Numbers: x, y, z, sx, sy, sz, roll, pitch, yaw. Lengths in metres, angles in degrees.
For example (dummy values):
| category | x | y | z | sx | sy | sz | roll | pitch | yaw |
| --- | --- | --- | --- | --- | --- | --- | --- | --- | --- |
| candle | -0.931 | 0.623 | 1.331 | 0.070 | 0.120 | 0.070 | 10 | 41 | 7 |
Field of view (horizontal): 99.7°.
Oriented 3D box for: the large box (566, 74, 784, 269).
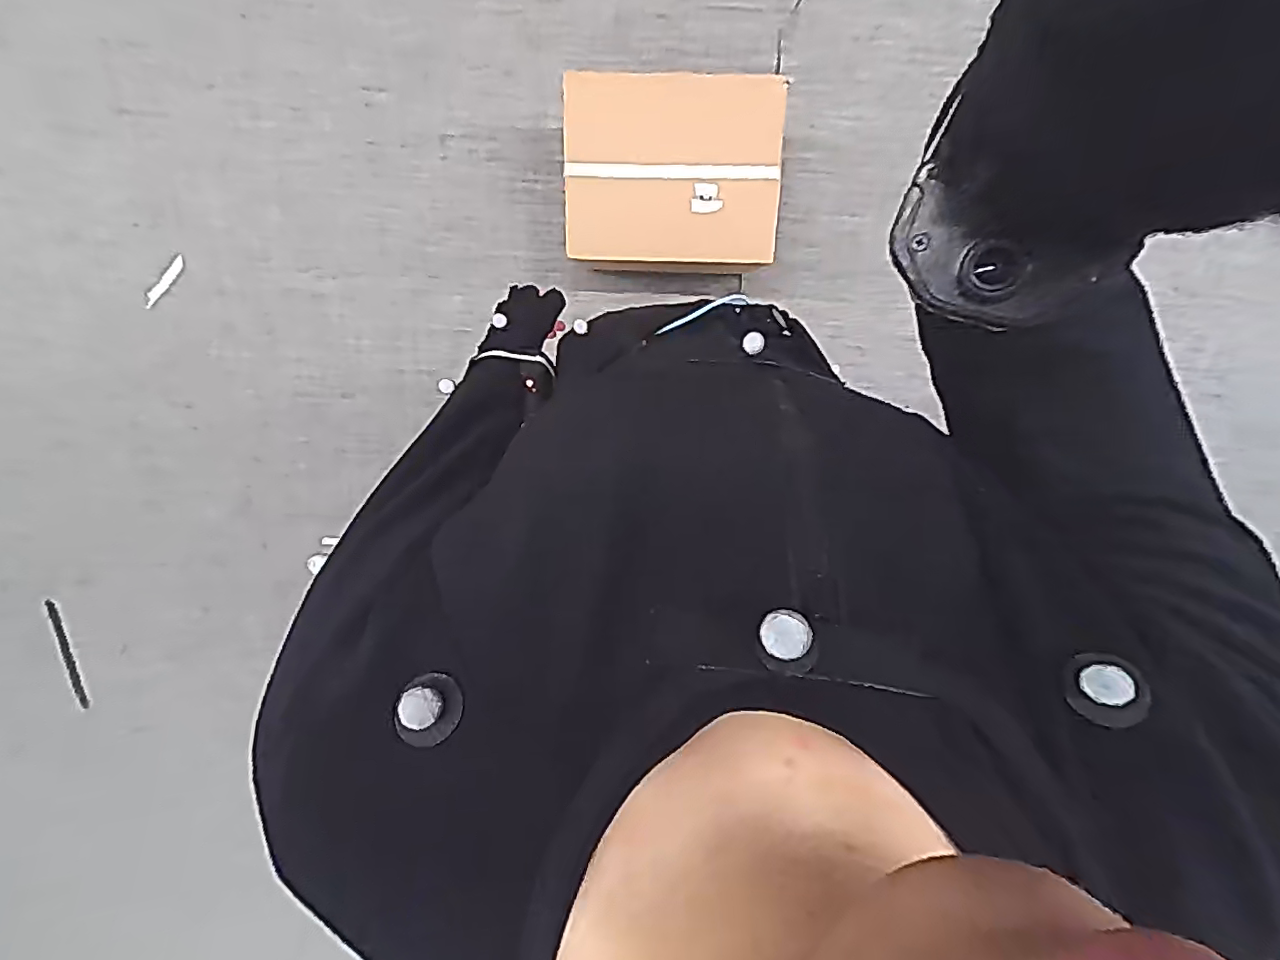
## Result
| category | x | y | z | sx | sy | sz | roll | pitch | yaw |
| --- | --- | --- | --- | --- | --- | --- | --- | --- | --- |
| large box | 0.061 | -0.630 | 1.165 | 0.408 | 0.320 | 0.320 | 1 | 109 | 0 |
